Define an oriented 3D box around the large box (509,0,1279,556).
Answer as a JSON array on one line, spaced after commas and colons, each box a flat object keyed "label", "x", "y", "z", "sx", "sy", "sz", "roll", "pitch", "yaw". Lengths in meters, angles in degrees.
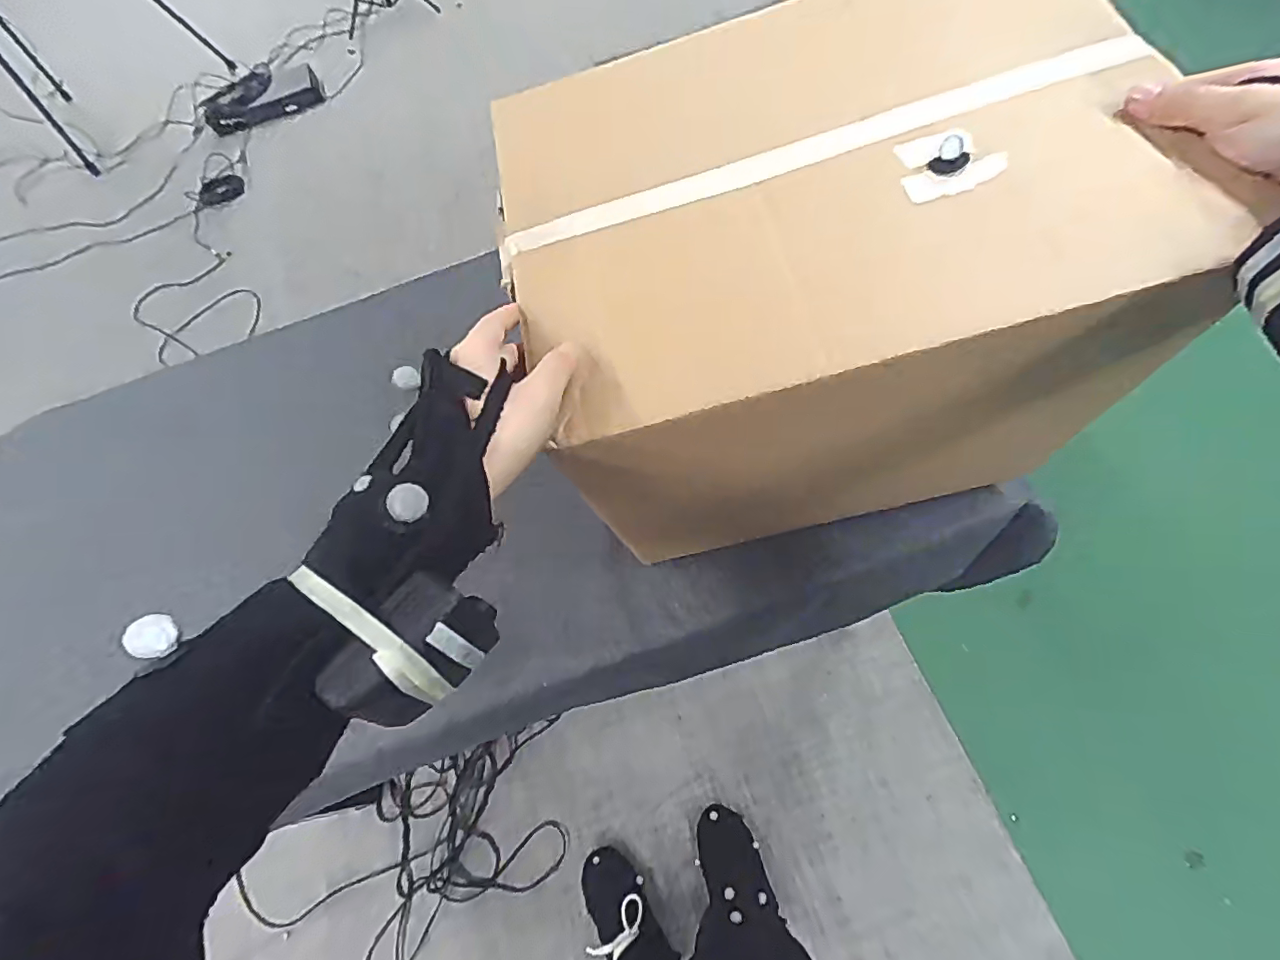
[{"label": "large box", "x": 0.141, "y": -0.154, "z": 0.488, "sx": 0.408, "sy": 0.320, "sz": 0.320, "roll": -14, "pitch": 68, "yaw": 5}]
